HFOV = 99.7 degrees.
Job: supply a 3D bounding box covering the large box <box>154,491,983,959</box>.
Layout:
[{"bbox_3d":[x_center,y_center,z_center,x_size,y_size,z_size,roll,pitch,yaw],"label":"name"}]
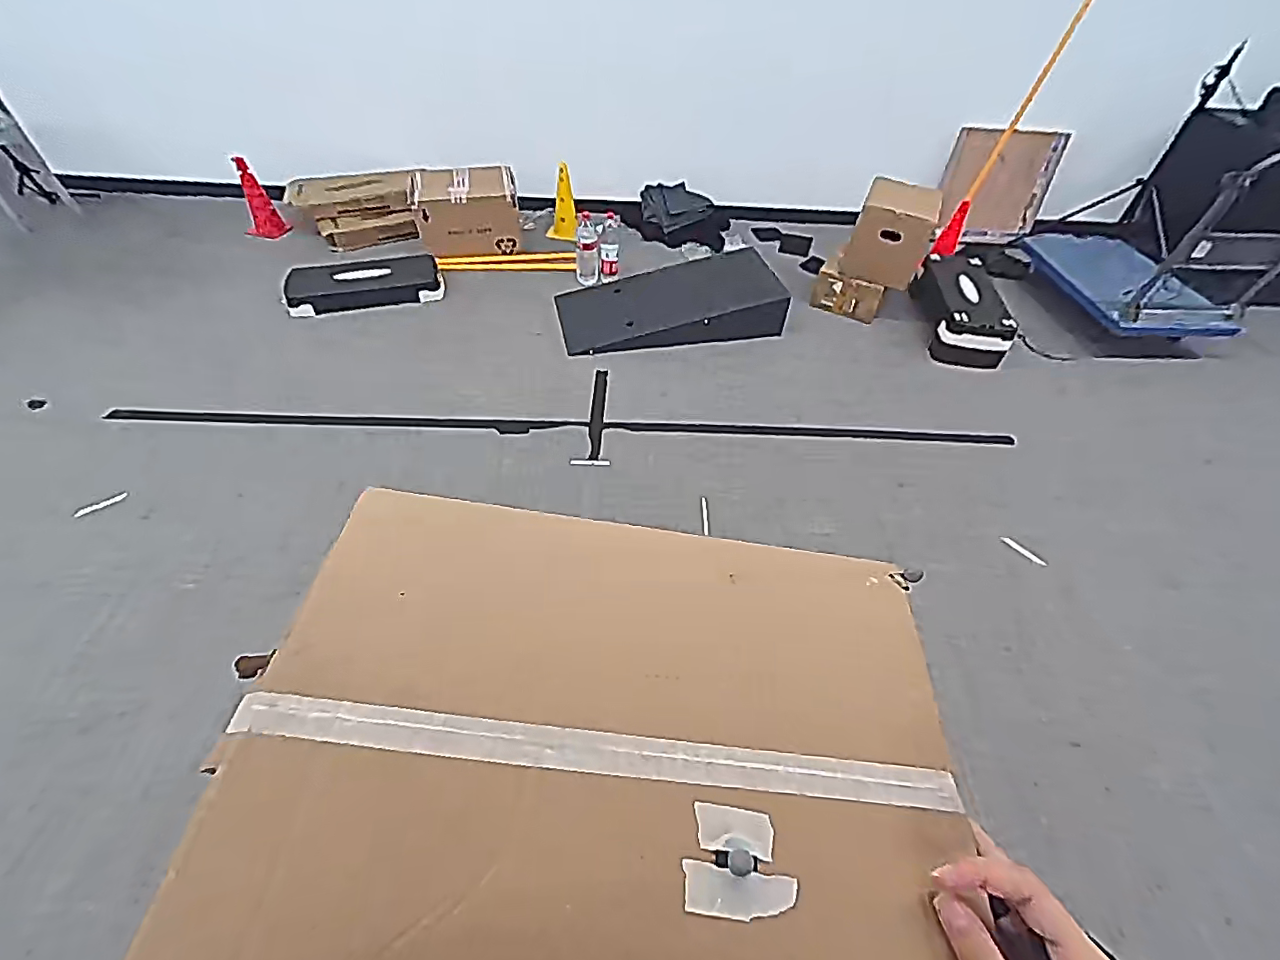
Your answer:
[{"bbox_3d":[-0.035,0.245,0.437,0.408,0.320,0.320,9,52,-4],"label":"large box"}]
